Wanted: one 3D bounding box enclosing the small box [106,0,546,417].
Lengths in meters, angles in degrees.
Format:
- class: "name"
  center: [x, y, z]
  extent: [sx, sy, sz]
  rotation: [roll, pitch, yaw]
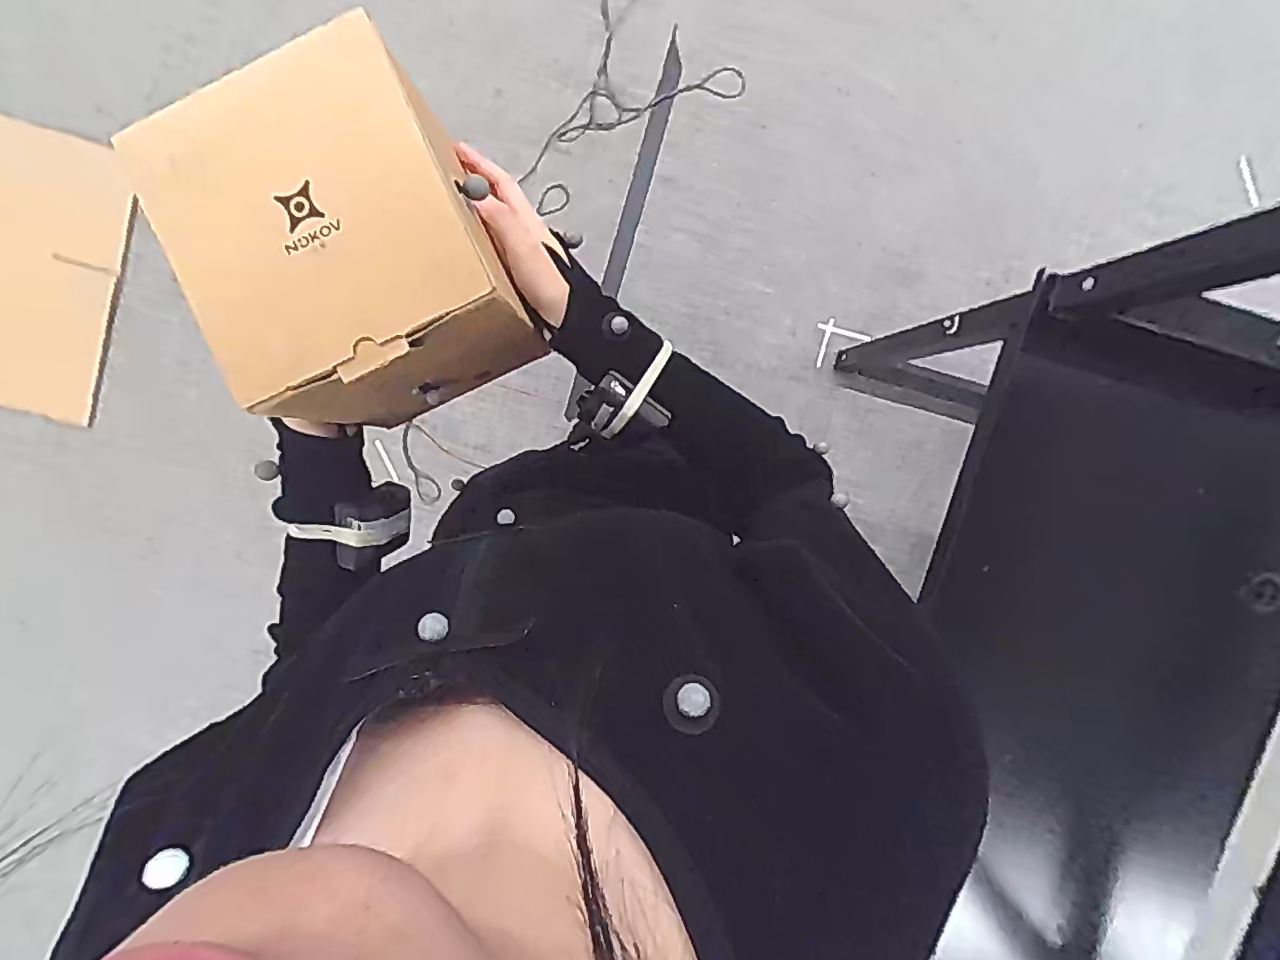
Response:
- class: "small box"
  center: [-0.186, -0.157, 0.378]
  extent: [0.168, 0.176, 0.179]
  rotation: [-25, 92, 3]
